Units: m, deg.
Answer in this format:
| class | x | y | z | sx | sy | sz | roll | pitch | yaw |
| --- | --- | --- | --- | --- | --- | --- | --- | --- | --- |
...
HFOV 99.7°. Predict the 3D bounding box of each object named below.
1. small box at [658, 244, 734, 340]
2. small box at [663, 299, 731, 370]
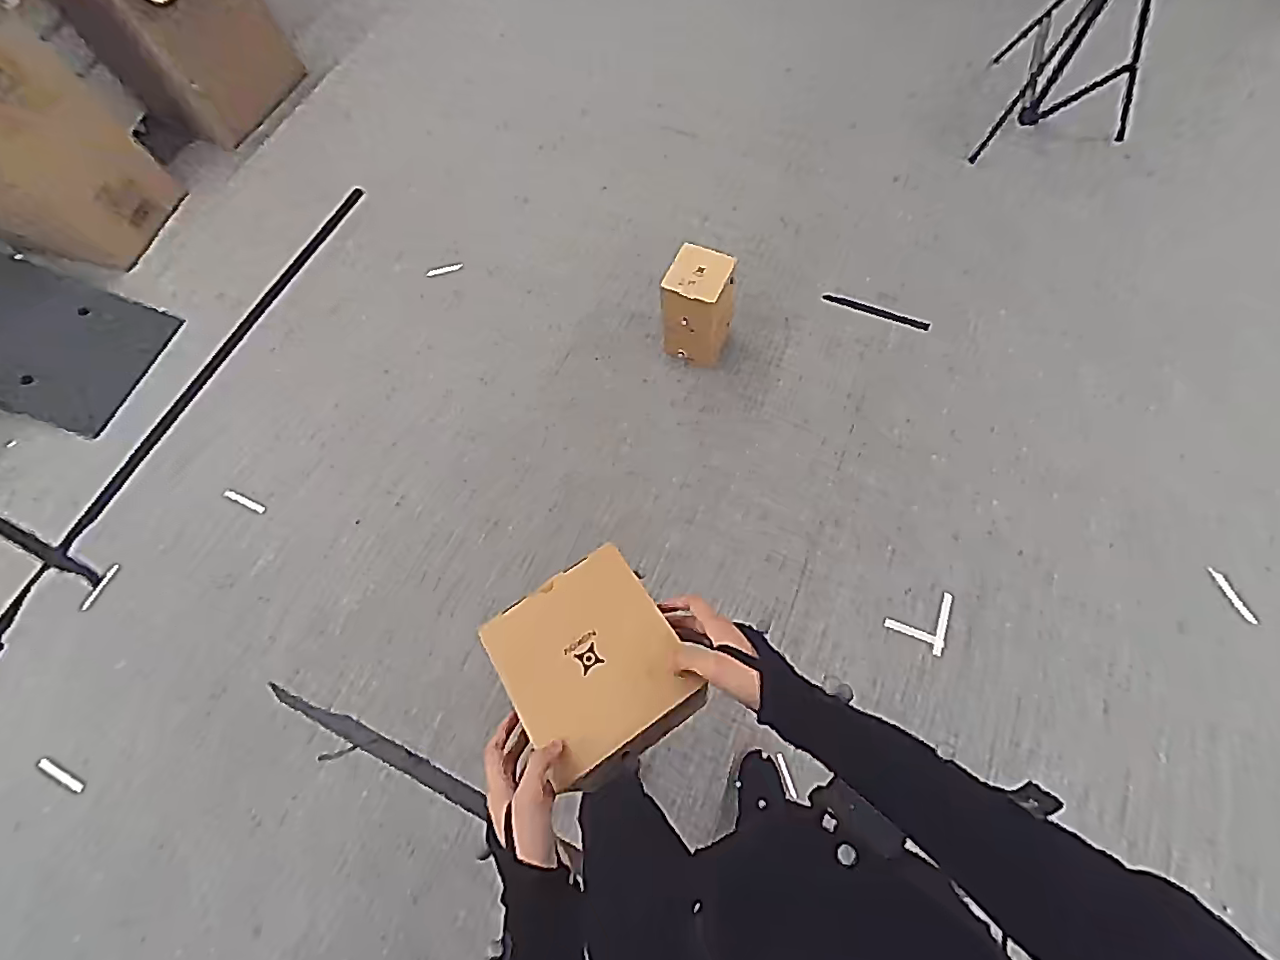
| class | x | y | z | sx | sy | sz | roll | pitch | yaw |
| --- | --- | --- | --- | --- | --- | --- | --- | --- | --- |
| small box | 0.162 | -0.552 | 1.595 | 0.168 | 0.176 | 0.179 | 23 | 72 | 12 |
| small box | 0.178 | -0.492 | 1.747 | 0.168 | 0.176 | 0.179 | 24 | 71 | 12 |
